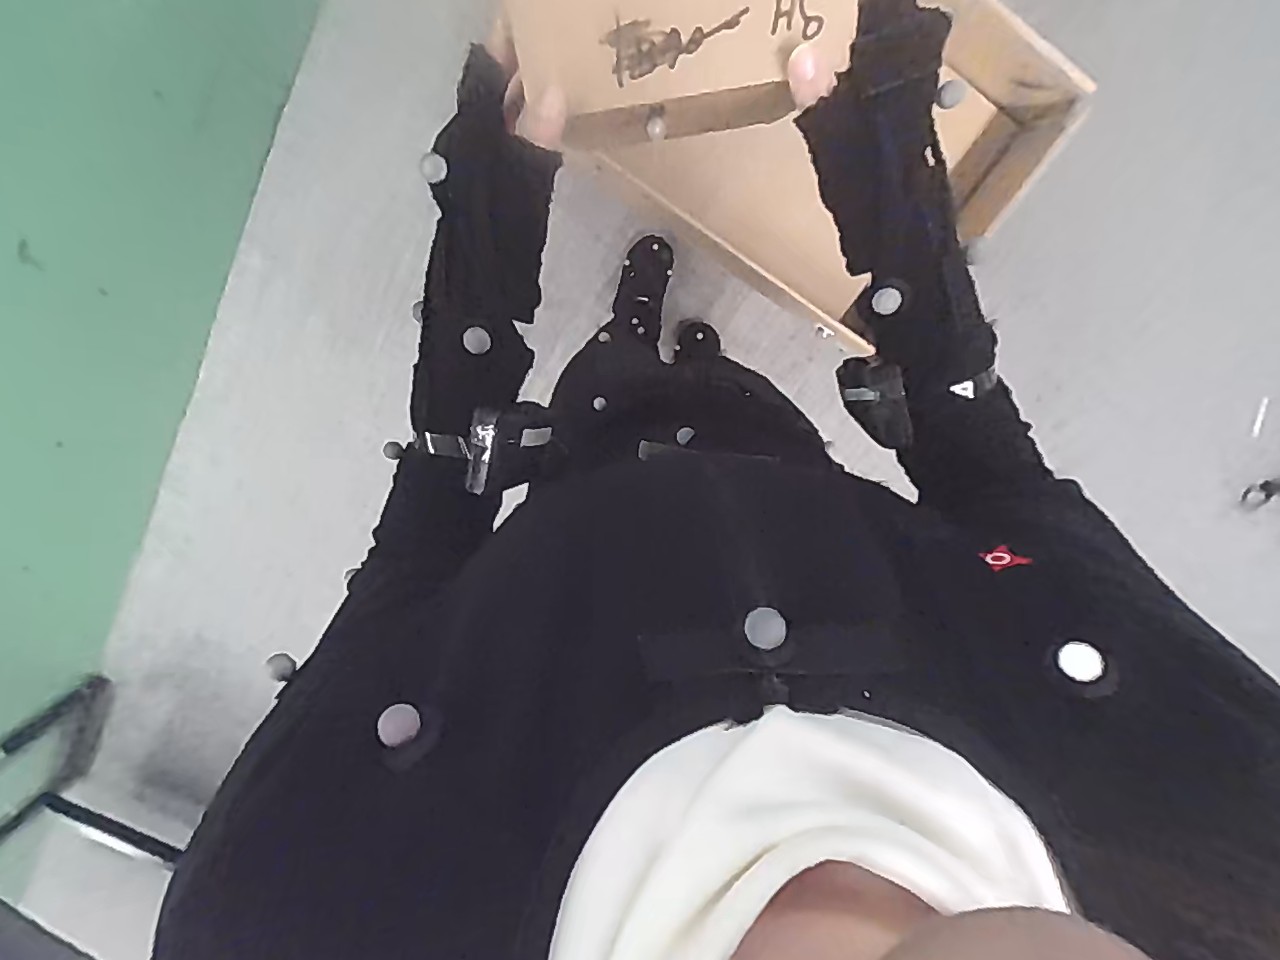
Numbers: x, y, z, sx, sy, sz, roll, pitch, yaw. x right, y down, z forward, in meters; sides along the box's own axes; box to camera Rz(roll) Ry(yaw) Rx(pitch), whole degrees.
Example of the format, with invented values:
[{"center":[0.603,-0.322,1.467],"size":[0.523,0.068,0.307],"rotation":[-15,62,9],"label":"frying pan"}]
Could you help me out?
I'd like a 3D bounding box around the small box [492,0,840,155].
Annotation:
[{"center":[0.006,-0.305,0.306],"size":[0.168,0.176,0.179],"rotation":[-7,116,5],"label":"small box"}]
